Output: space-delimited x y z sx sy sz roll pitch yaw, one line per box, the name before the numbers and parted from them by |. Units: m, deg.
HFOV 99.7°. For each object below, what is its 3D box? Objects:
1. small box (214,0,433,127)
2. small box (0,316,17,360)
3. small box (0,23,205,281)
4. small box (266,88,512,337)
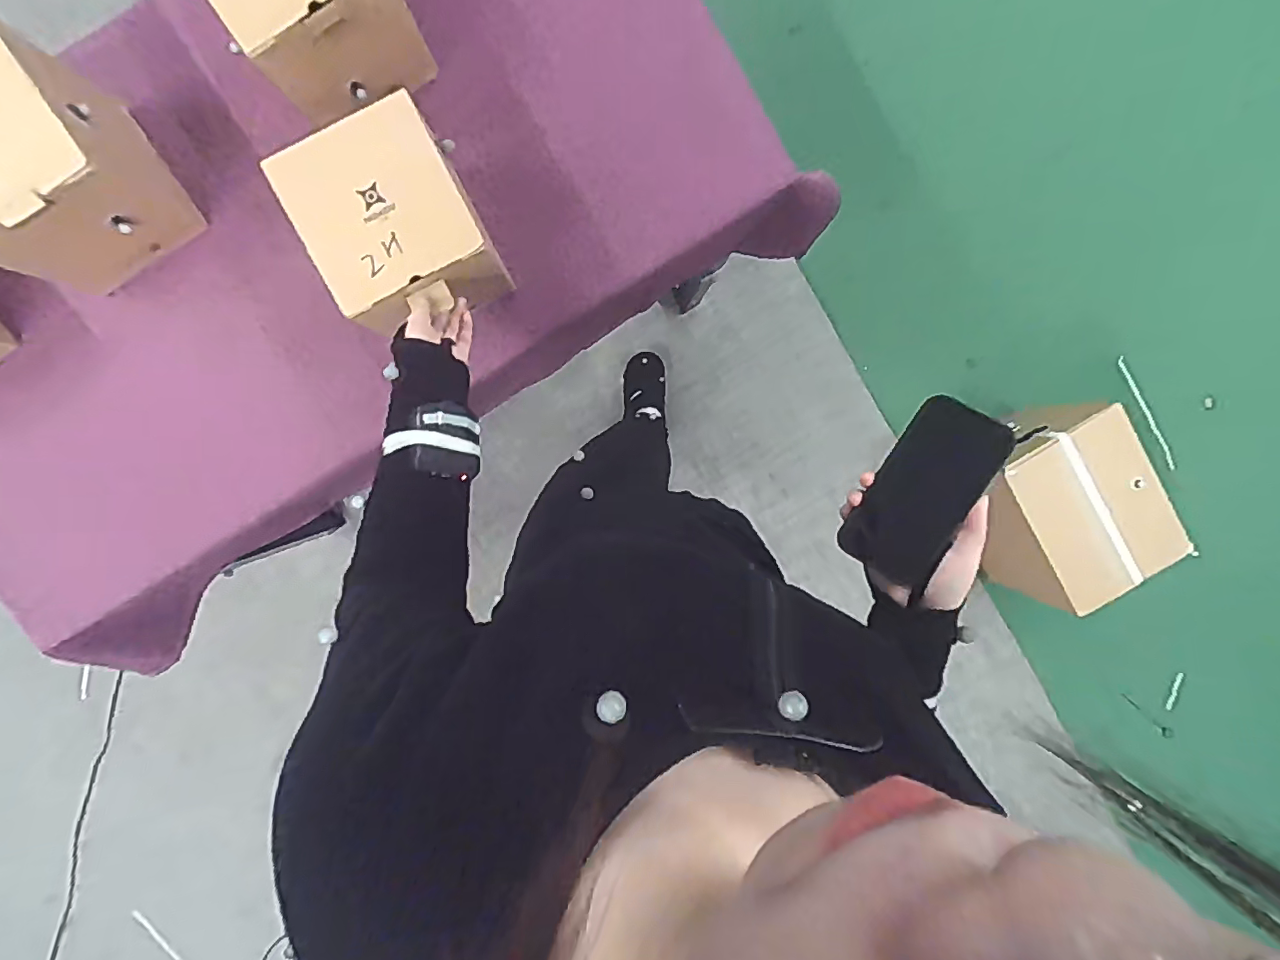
small box | -0.369 -0.543 0.604 0.168 0.176 0.179 -34 96 1
small box | -0.904 -0.188 0.612 0.168 0.176 0.179 -37 97 0
small box | -0.659 -0.347 0.610 0.168 0.176 0.179 -32 96 0
small box | -0.271 -0.289 0.629 0.168 0.176 0.179 -27 96 1
